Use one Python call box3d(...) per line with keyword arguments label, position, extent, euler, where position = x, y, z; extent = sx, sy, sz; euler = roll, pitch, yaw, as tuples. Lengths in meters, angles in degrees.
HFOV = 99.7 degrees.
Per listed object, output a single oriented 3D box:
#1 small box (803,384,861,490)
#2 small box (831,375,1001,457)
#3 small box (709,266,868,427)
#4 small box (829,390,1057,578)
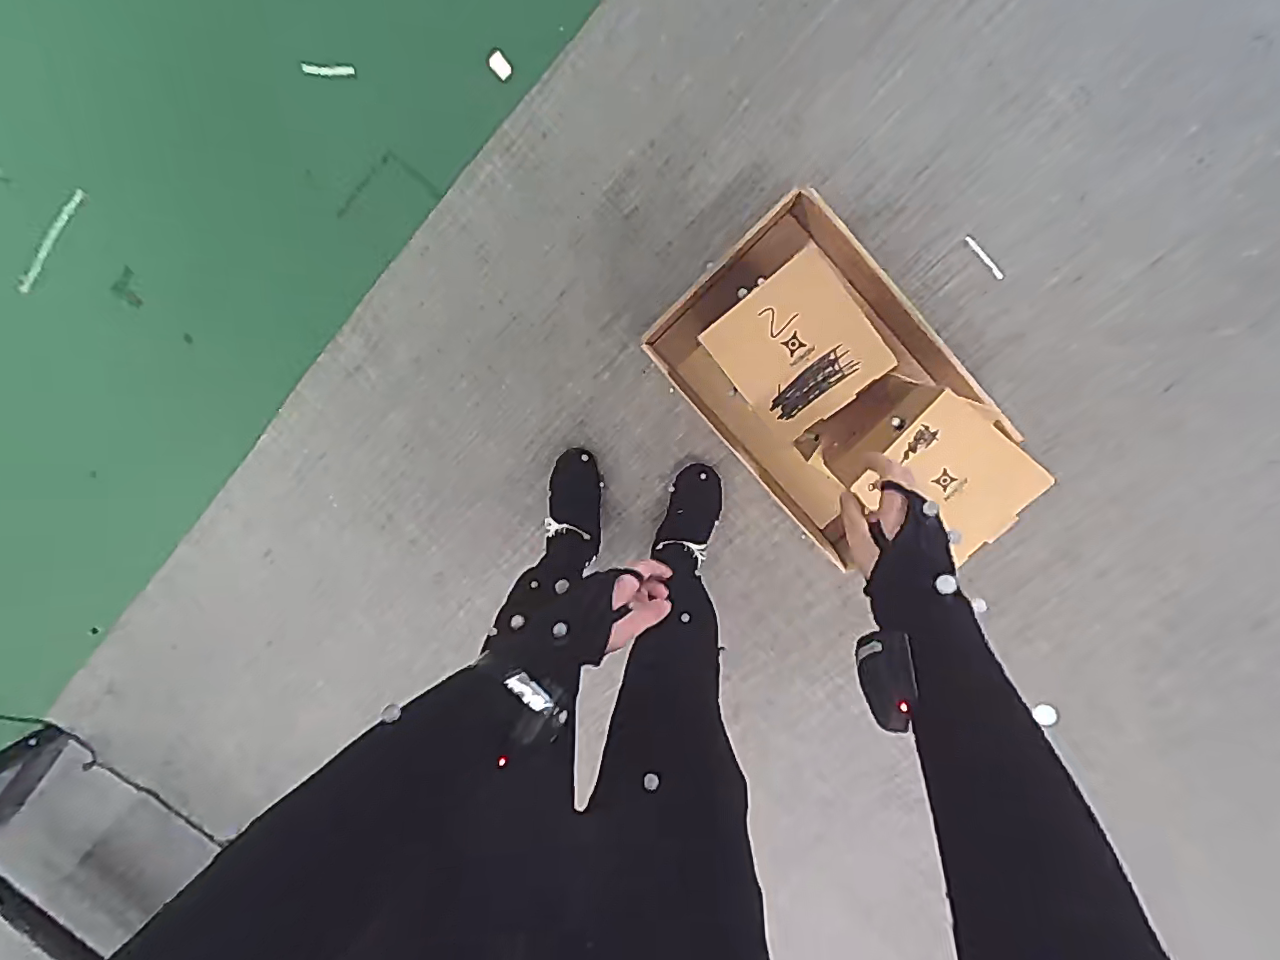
box3d(label="small box", position=(0.433, -0.070, 1.045), extent=(0.168, 0.176, 0.179), euler=(31, 105, 0))
box3d(label="small box", position=(0.428, -0.060, 0.879), extent=(0.168, 0.176, 0.179), euler=(21, 105, 2))
box3d(label="small box", position=(0.224, -0.208, 0.870), extent=(0.168, 0.176, 0.179), euler=(-39, 97, 13))
box3d(label="small box", position=(0.387, -0.007, 0.728), extent=(0.179, 0.176, 0.168), euler=(39, 105, -3))
